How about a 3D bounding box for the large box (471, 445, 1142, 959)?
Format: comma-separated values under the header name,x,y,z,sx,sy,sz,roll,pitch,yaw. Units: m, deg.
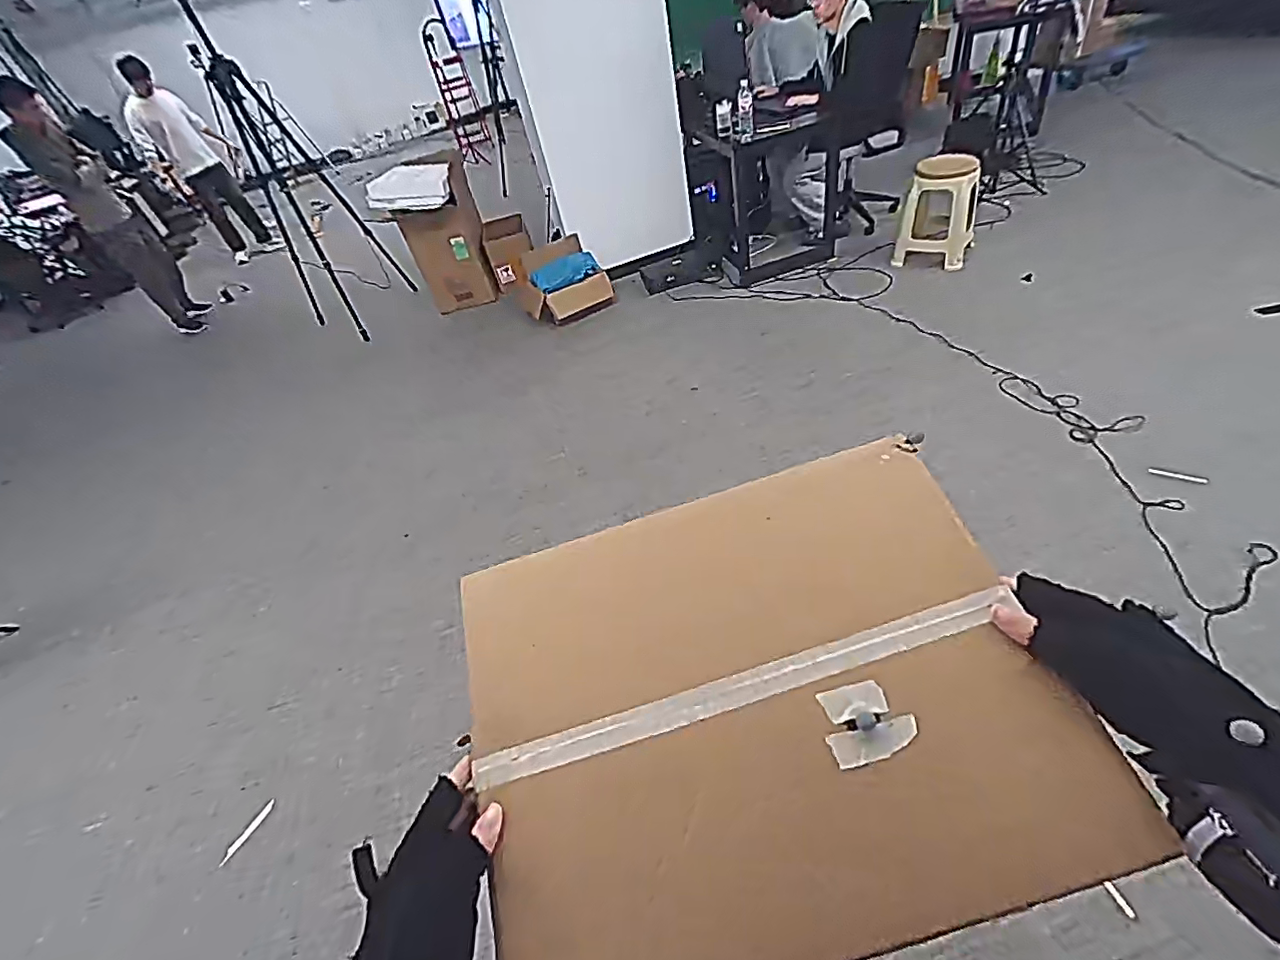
name,x,y,z,sx,sy,sz,roll,pitch,yaw
large box,0.101,0.229,0.528,0.408,0.320,0.320,-19,59,0
